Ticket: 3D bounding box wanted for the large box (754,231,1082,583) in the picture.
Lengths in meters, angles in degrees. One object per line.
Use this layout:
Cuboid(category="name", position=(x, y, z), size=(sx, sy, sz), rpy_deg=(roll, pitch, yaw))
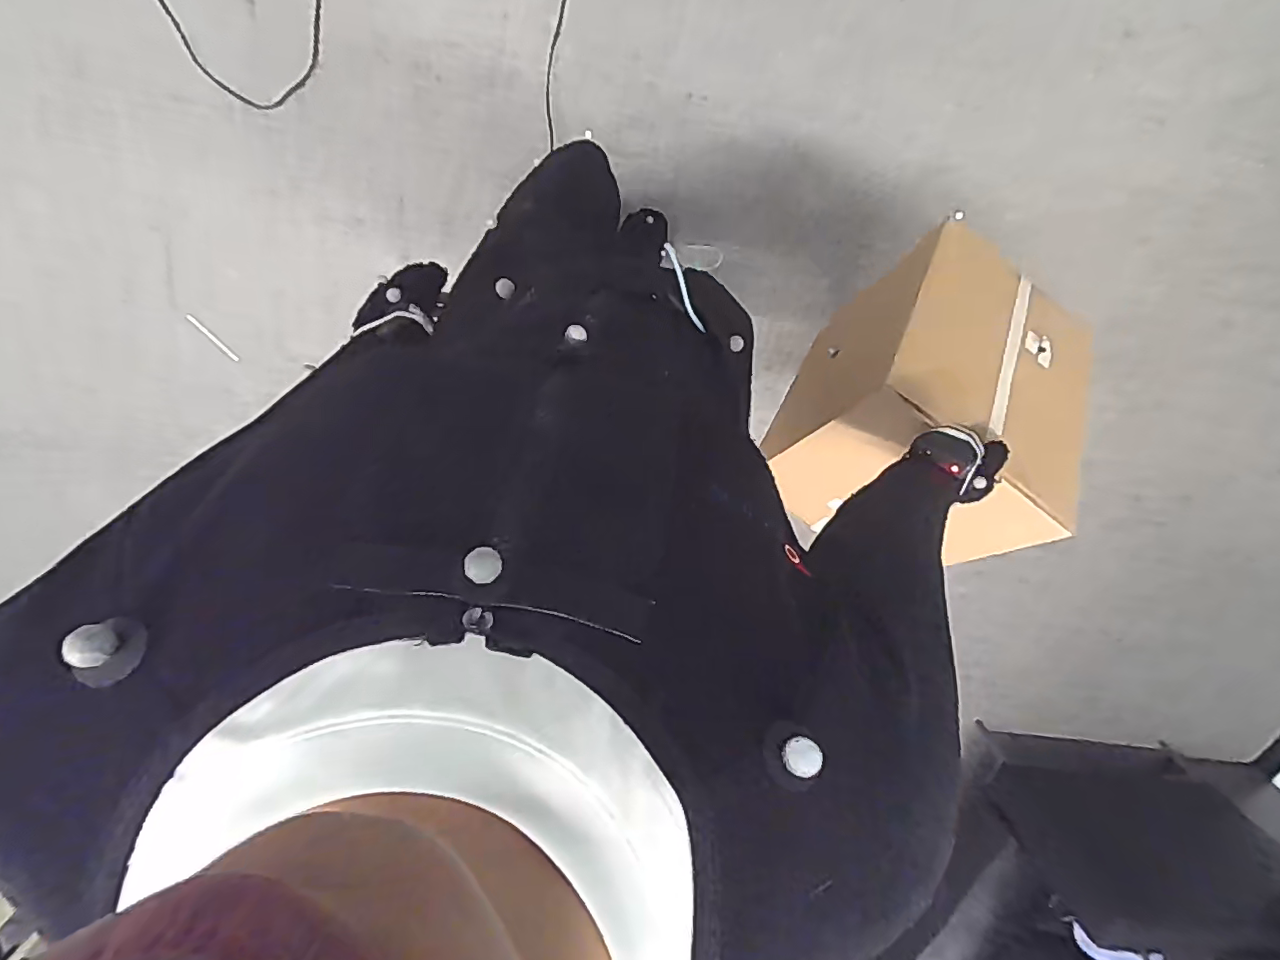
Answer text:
Cuboid(category="large box", position=(0.447, -0.103, 0.885), size=(0.320, 0.408, 0.320), rpy_deg=(37, 149, -7))
